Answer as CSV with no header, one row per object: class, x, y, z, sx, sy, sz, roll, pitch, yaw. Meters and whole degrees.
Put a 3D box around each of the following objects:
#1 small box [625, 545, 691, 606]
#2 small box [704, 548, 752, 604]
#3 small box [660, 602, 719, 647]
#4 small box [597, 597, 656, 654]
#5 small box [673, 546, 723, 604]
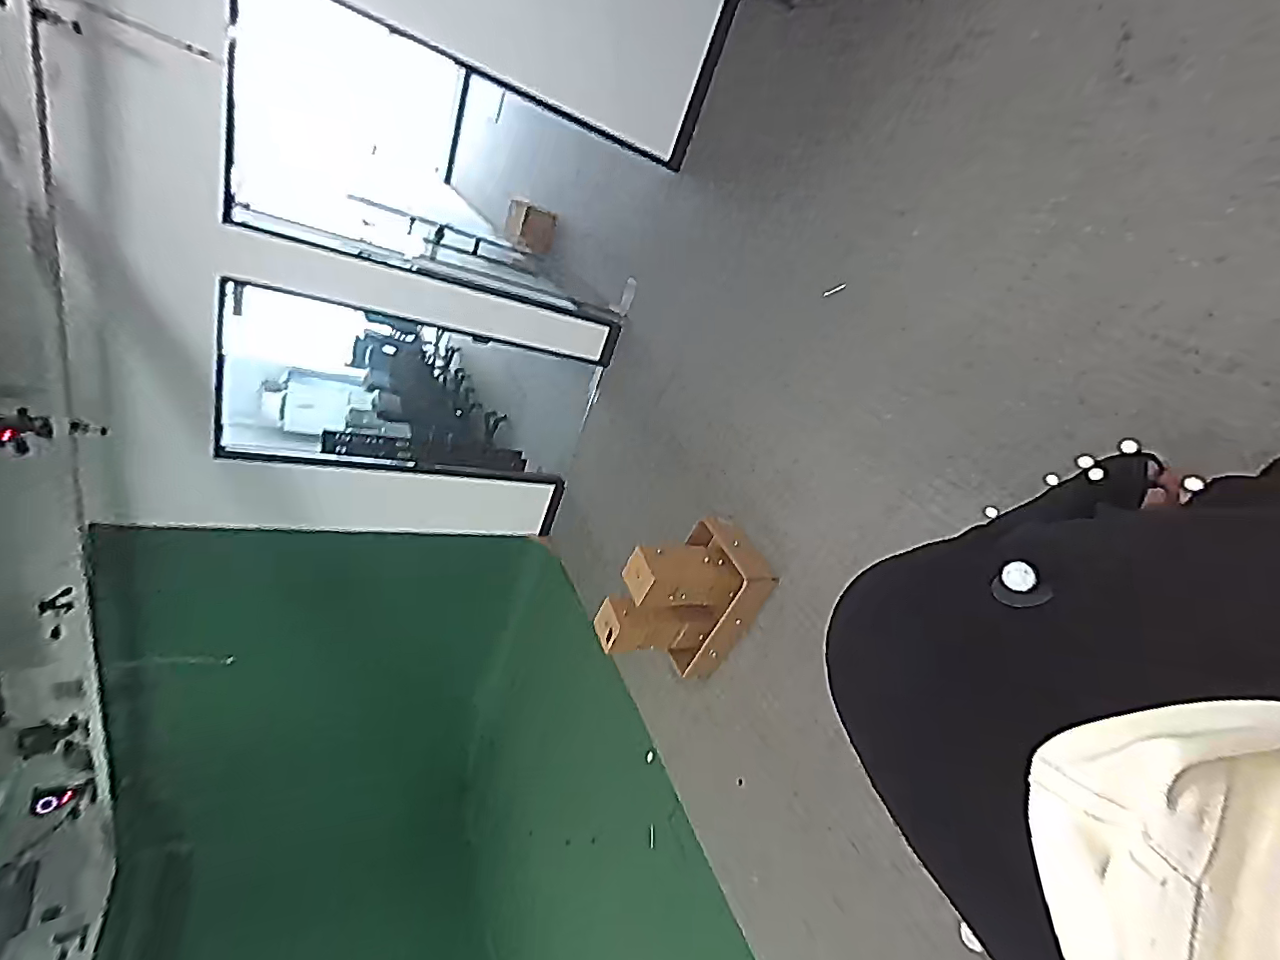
small box,0.069,0.375,2.114,0.168,0.176,0.179,-62,39,31
small box,0.341,0.409,2.293,0.168,0.176,0.179,-63,38,29
small box,0.224,0.633,2.437,0.168,0.176,0.179,-63,37,29
small box,-0.057,0.607,2.269,0.168,0.176,0.179,-63,36,28
small box,0.207,0.389,2.201,0.168,0.176,0.179,-62,37,31
